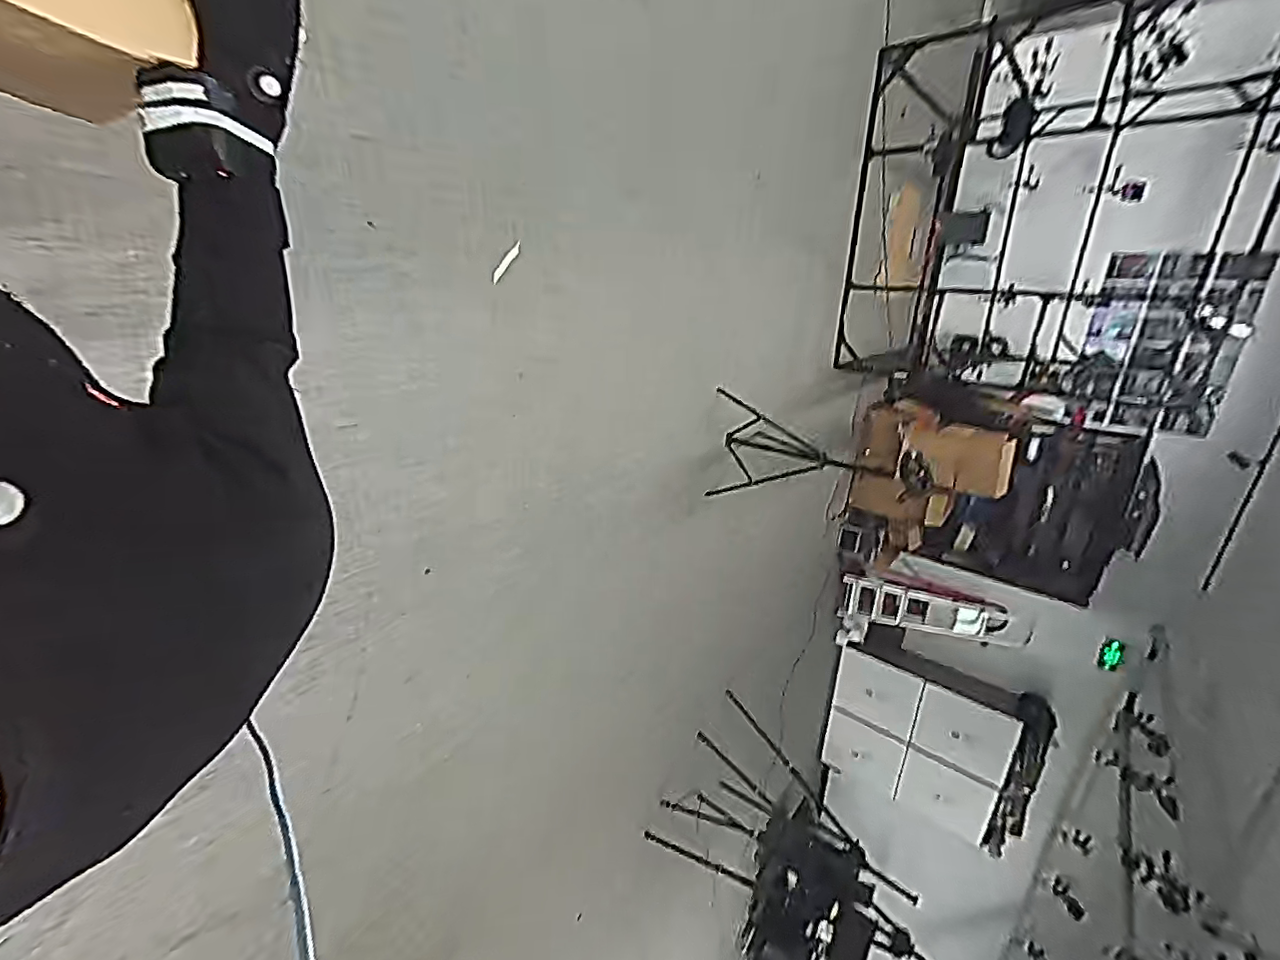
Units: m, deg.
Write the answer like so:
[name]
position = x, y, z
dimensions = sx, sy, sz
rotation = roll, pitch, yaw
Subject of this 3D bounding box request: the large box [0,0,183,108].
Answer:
[large box]
position = -0.548, -0.473, 0.289
dimensions = 0.408, 0.320, 0.320
rotation = -7, 112, -54
